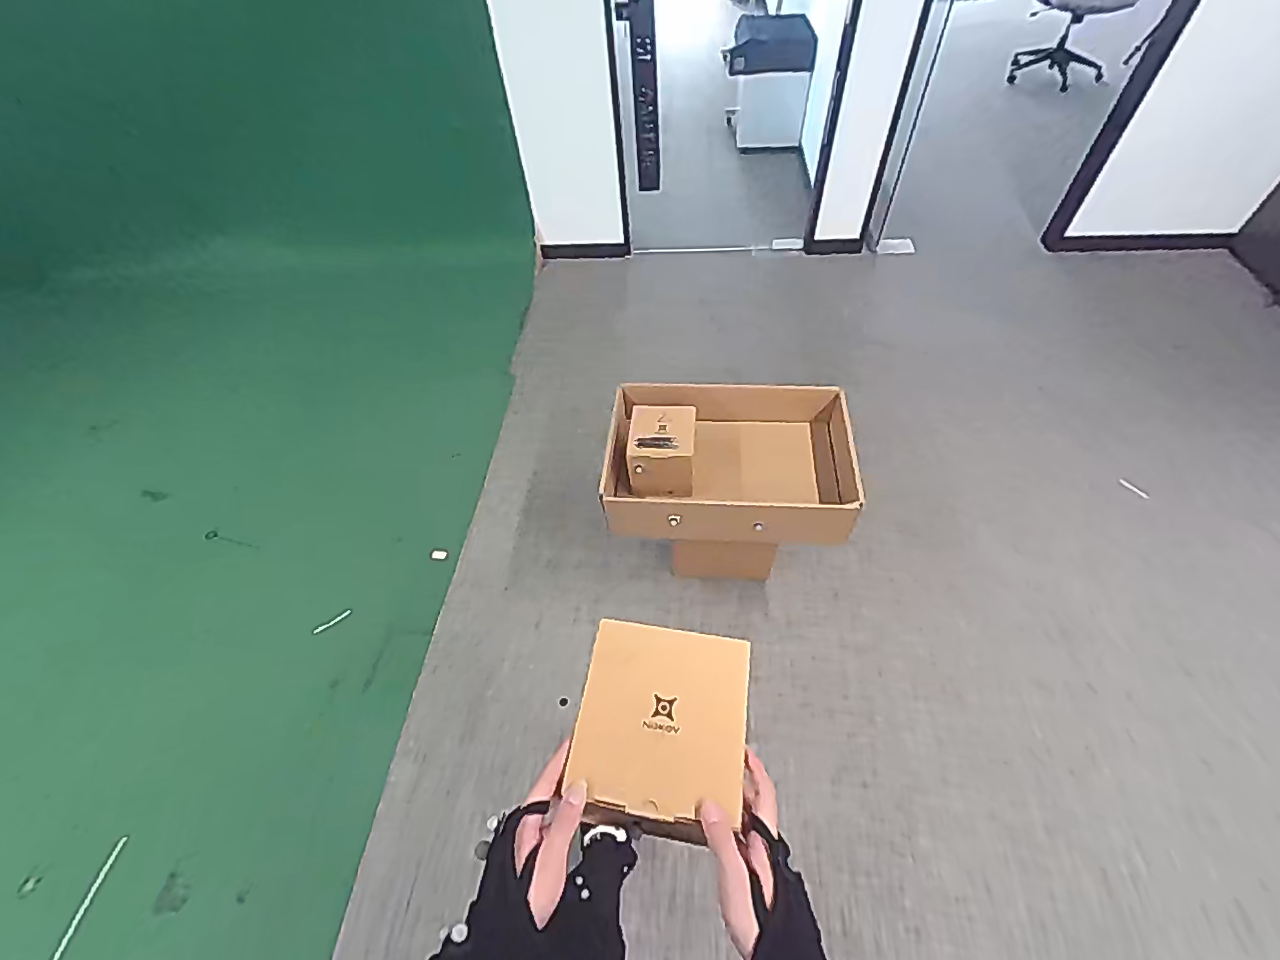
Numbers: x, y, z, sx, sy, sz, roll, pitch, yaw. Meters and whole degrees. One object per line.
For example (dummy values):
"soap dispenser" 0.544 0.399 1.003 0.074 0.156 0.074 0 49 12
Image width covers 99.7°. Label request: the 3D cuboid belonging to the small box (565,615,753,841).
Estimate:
"small box" 0.025 0.276 0.598 0.168 0.176 0.179 8 53 7
